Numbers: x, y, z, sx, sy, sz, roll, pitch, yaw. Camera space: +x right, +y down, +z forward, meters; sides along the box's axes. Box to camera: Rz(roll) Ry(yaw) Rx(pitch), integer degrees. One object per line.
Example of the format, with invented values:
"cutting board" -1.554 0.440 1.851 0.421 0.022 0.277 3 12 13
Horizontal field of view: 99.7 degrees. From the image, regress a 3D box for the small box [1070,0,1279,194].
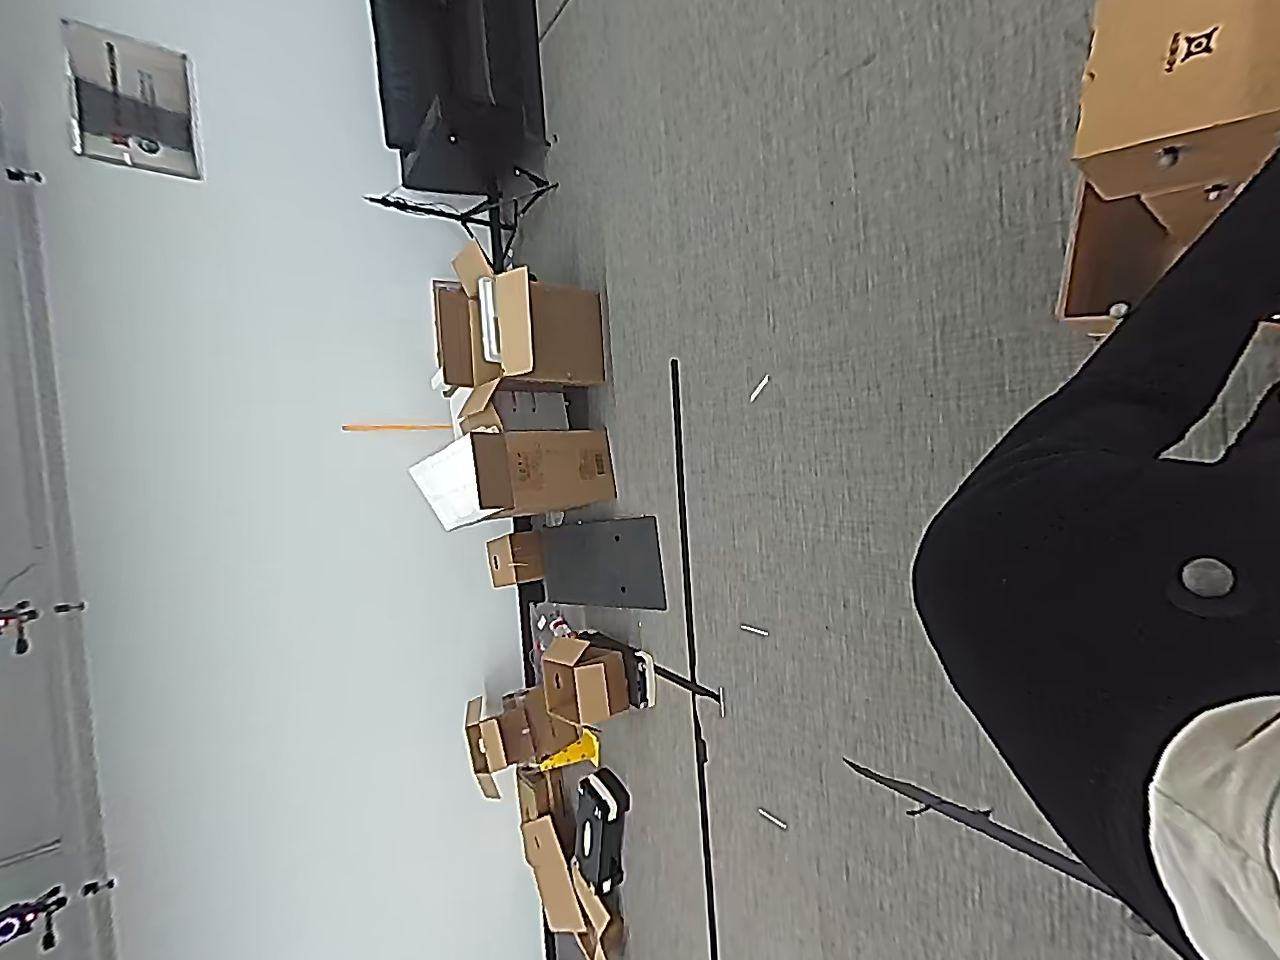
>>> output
"small box" 0.607 -0.431 0.580 0.179 0.176 0.168 15 105 51
